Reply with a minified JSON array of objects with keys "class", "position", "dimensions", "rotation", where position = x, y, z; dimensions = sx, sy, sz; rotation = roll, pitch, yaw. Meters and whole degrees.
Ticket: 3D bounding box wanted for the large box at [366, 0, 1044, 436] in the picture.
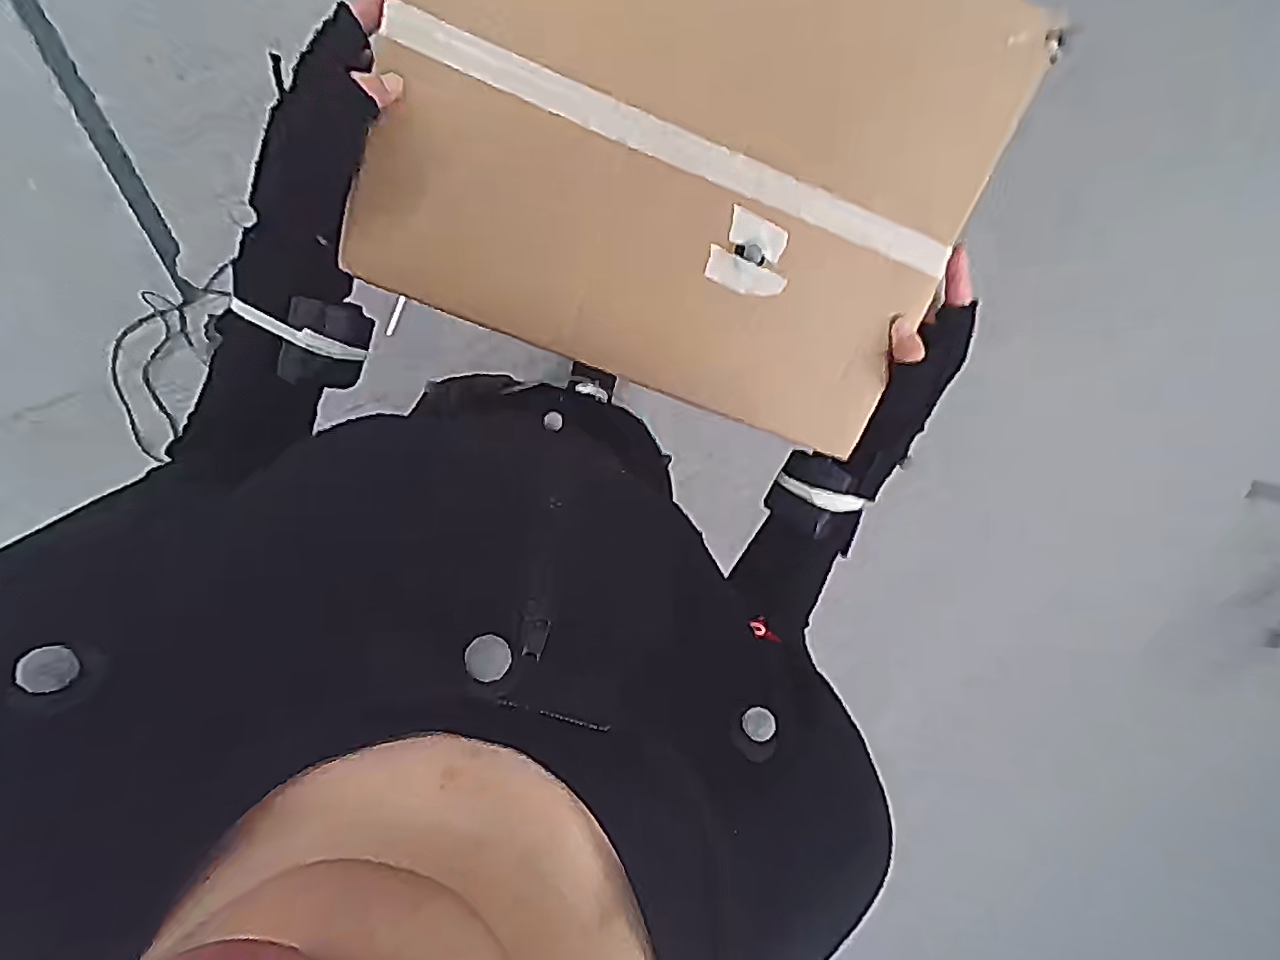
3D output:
[{"class":"large box","position":[0.029,-0.277,0.517],"dimensions":[0.408,0.320,0.320],"rotation":[19,107,-9]}]
